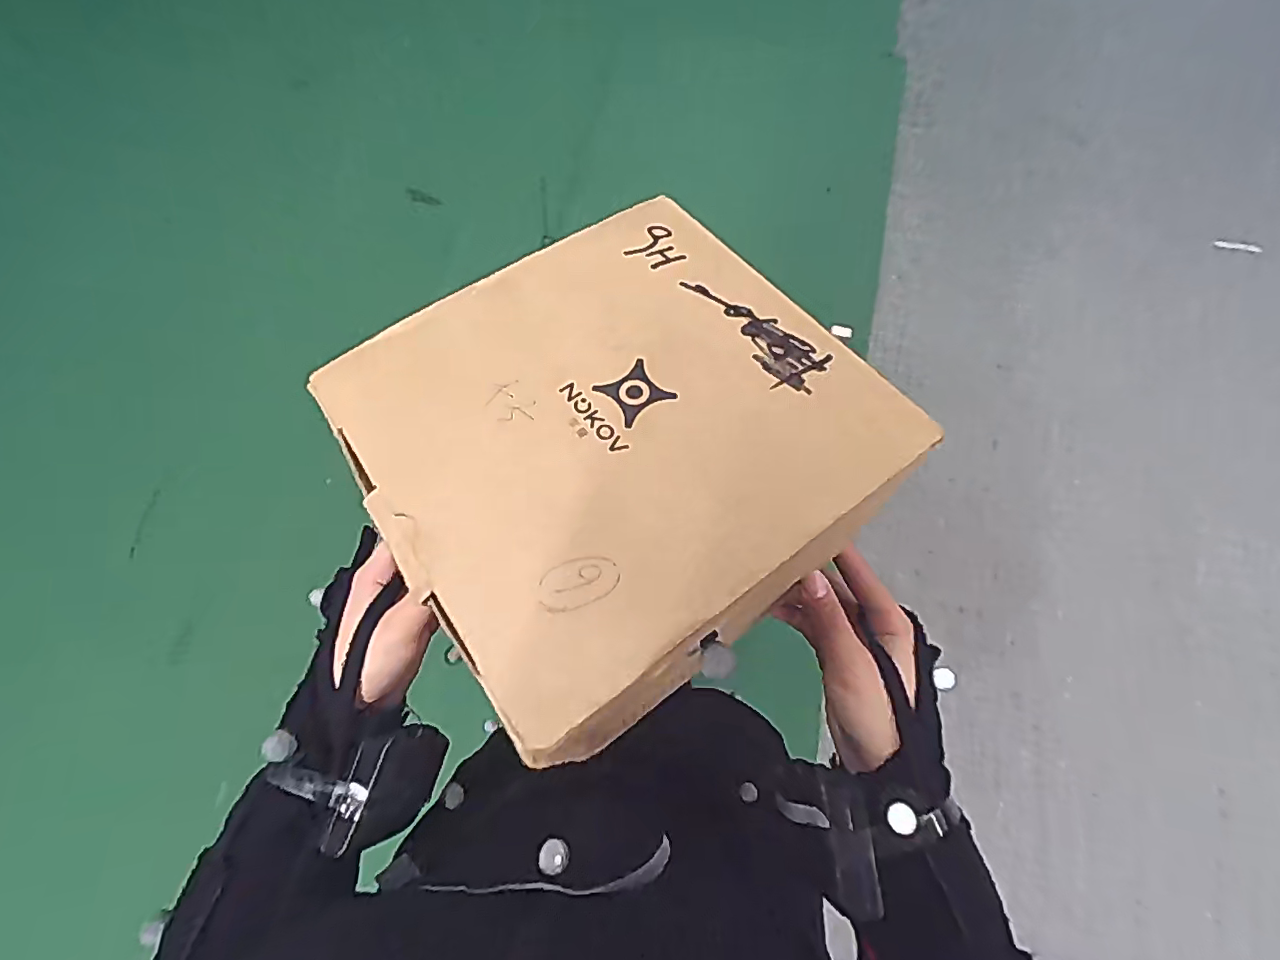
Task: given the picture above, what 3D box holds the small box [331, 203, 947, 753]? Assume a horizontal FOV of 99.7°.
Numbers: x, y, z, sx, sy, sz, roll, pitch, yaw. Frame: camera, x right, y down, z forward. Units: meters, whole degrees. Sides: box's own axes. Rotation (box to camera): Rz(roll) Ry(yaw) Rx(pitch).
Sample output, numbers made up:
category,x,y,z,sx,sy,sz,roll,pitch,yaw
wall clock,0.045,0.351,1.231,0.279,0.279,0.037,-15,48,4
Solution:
category,x,y,z,sx,sy,sz,roll,pitch,yaw
small box,-0.003,0.011,0.271,0.179,0.176,0.168,-34,67,-14
